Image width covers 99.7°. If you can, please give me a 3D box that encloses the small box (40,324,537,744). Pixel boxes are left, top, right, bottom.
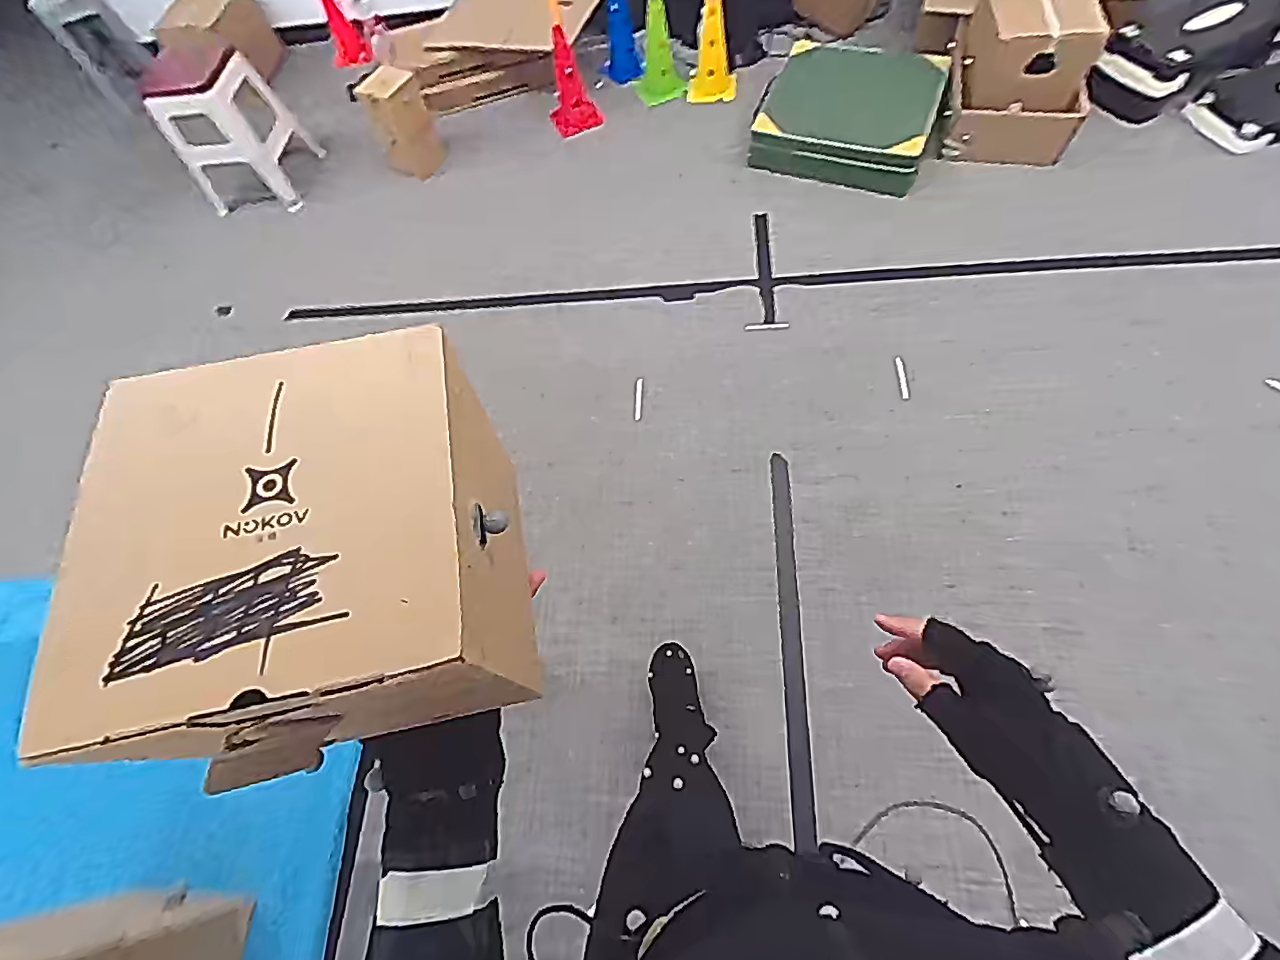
[{"bbox_3d":[-0.164,0.043,0.318,0.168,0.176,0.179,-12,64,-3],"label":"small box"}]

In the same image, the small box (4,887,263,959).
[{"bbox_3d":[-0.502,0.512,0.505,0.168,0.176,0.179,-2,64,6],"label":"small box"}]
